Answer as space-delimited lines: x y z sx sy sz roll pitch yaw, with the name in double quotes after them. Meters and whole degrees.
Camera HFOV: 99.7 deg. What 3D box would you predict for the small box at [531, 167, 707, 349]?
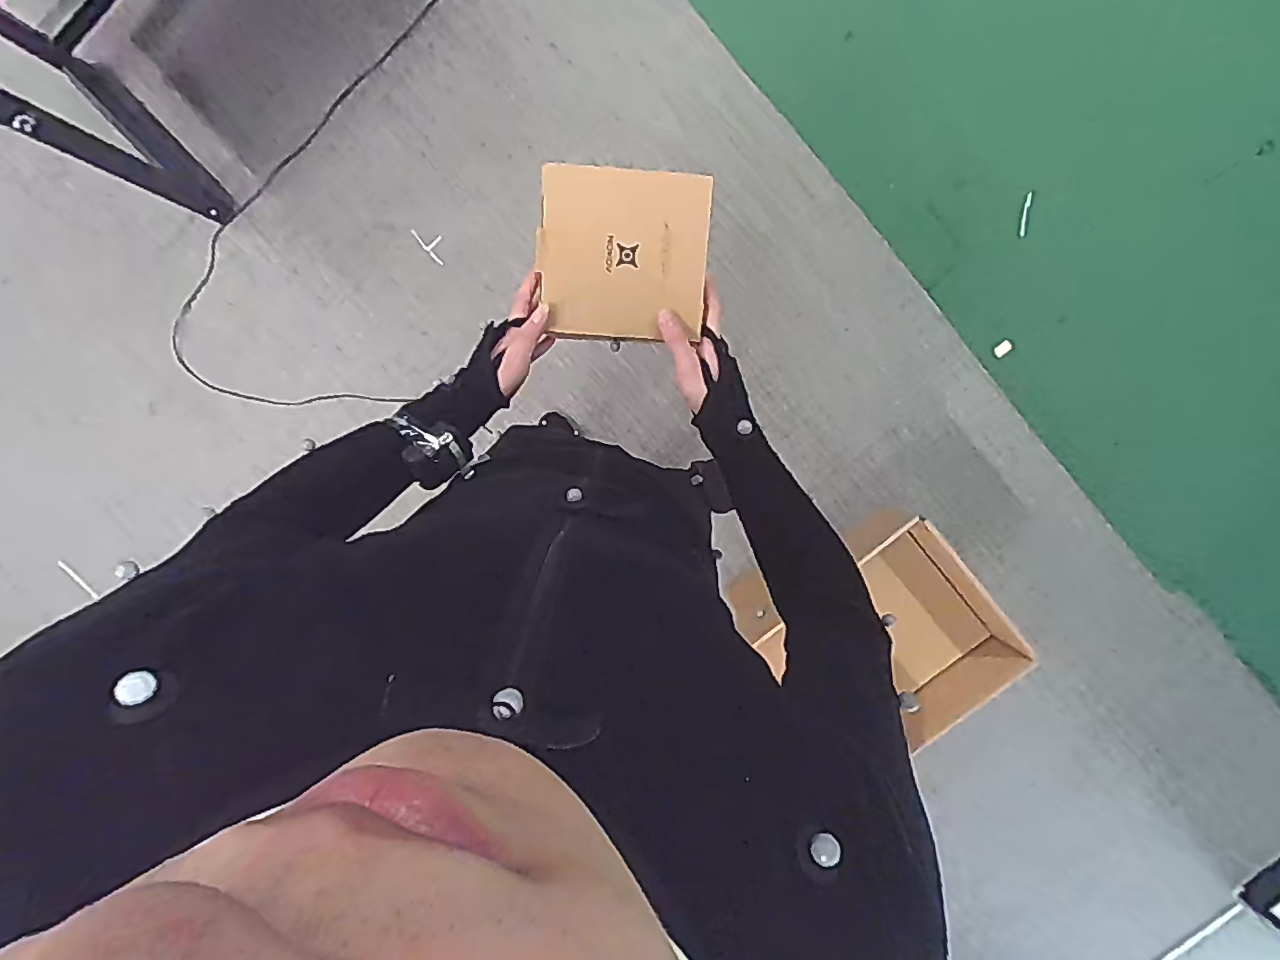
-0.025 -0.245 0.638 0.179 0.176 0.168 3 102 -2 "small box"
